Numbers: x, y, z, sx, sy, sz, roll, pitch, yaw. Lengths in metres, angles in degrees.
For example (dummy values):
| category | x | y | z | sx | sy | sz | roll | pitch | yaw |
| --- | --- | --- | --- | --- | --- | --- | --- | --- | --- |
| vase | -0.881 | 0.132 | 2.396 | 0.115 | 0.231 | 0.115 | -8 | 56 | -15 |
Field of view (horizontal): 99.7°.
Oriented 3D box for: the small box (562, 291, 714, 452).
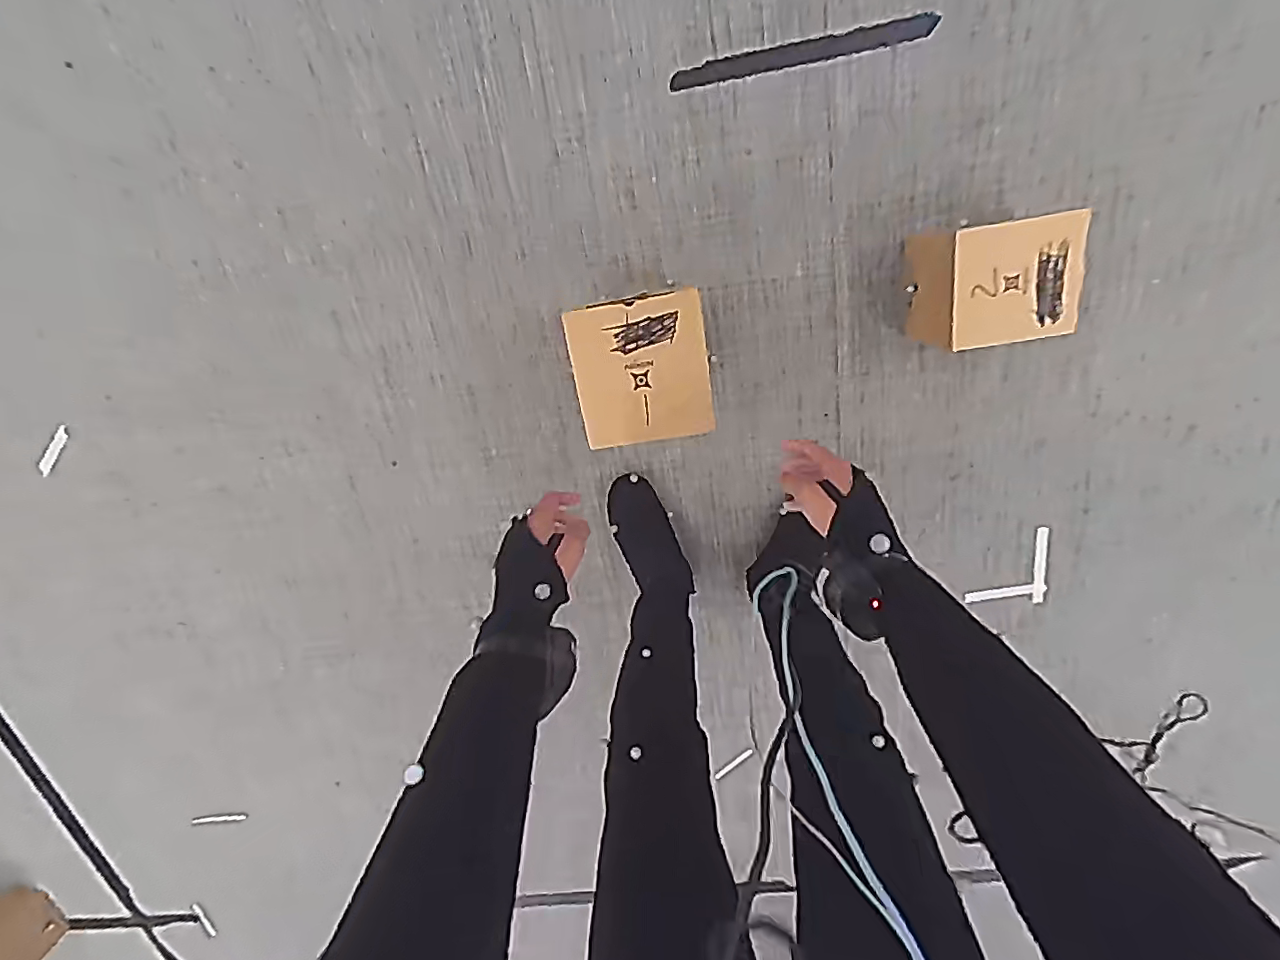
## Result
| category | x | y | z | sx | sy | sz | roll | pitch | yaw |
| --- | --- | --- | --- | --- | --- | --- | --- | --- | --- |
| small box | 0.003 | -0.154 | 0.729 | 0.168 | 0.176 | 0.179 | -8 | 111 | 6 |
